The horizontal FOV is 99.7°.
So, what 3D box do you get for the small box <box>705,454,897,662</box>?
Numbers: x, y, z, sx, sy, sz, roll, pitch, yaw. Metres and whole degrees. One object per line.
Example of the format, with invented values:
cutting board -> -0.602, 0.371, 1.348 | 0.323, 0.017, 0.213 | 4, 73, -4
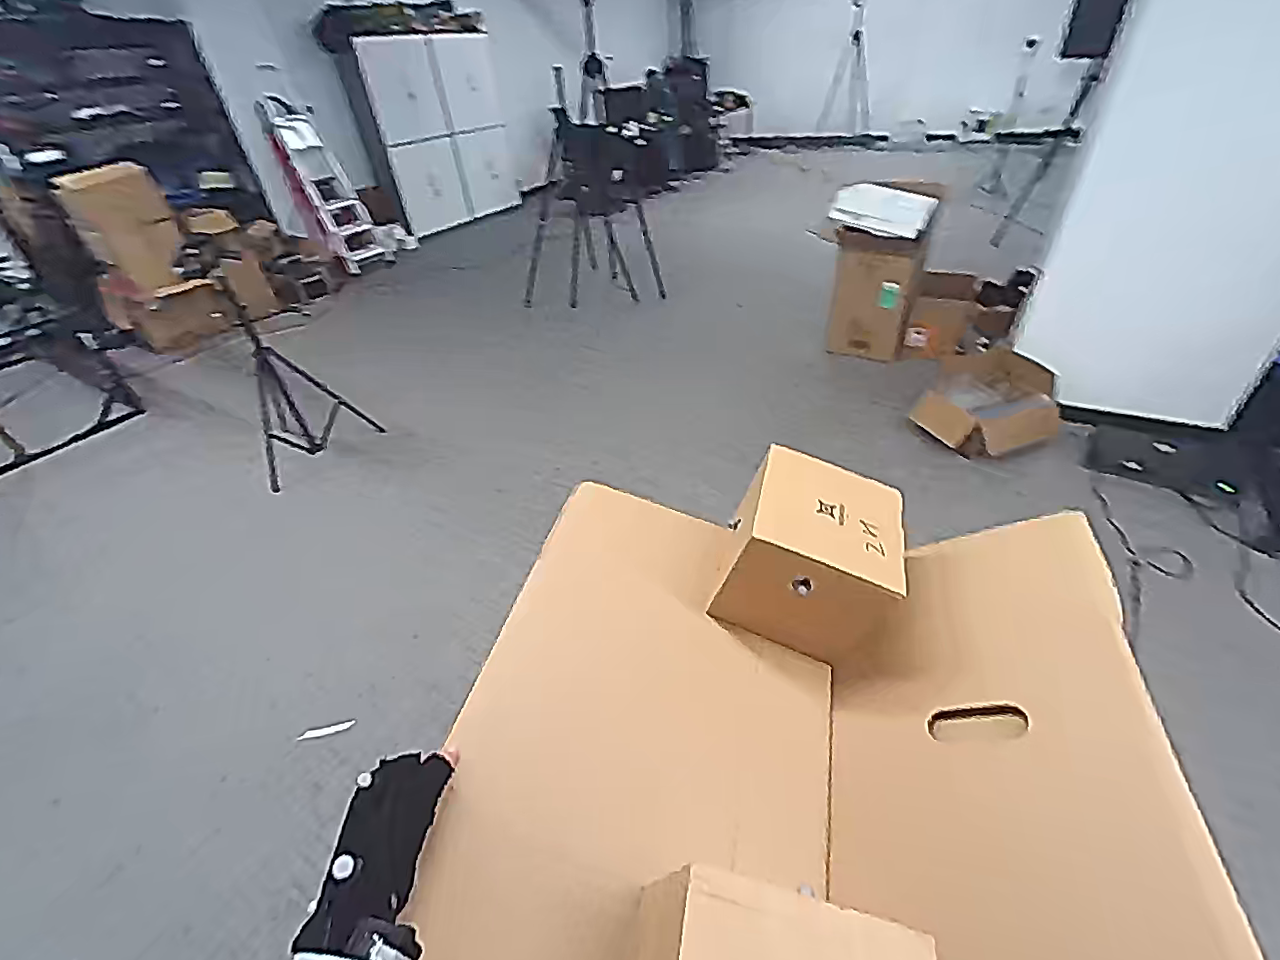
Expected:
small box -> 0.199, 0.103, 0.687 | 0.179, 0.176, 0.168 | 22, 46, 4
